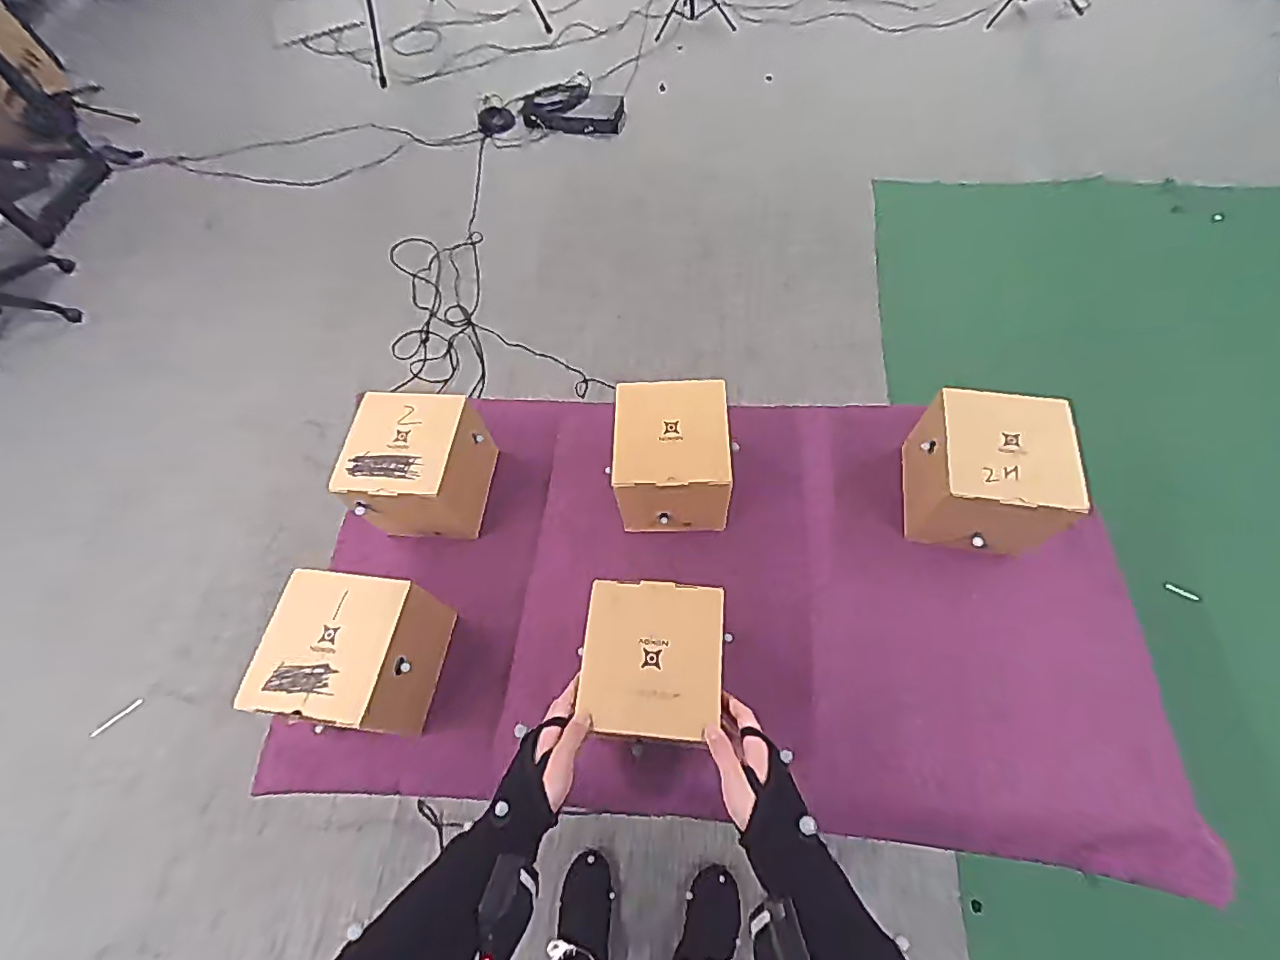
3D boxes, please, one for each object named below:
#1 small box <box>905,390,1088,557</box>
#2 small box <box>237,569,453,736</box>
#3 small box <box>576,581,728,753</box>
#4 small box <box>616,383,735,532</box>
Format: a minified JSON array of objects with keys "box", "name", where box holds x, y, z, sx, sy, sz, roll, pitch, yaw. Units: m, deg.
[{"box":[0.502,-0.005,0.793,0.168,0.176,0.179,8,64,9],"name":"small box"},{"box":[-0.376,0.238,0.731,0.168,0.176,0.179,5,61,7],"name":"small box"},{"box":[0.023,0.246,0.701,0.168,0.176,0.179,3,62,7],"name":"small box"},{"box":[0.053,-0.031,0.844,0.168,0.176,0.179,-1,64,3],"name":"small box"}]
